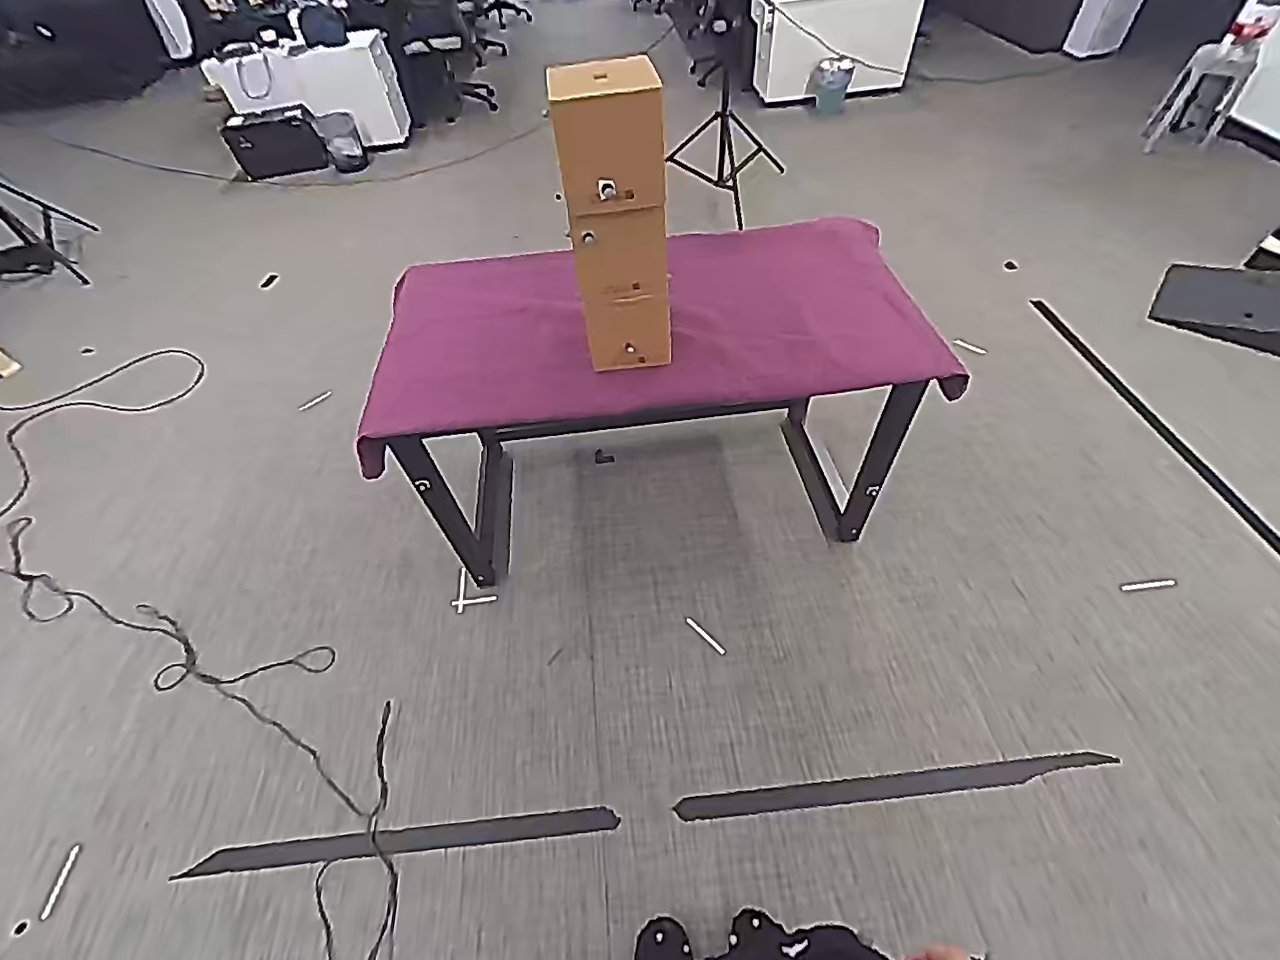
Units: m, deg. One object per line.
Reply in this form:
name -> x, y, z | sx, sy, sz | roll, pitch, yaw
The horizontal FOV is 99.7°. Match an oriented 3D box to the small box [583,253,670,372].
small box -> -0.027, -0.352, 1.140 | 0.168, 0.176, 0.179 | -6, 51, 1

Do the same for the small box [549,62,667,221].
small box -> -0.051, -0.548, 0.880 | 0.168, 0.176, 0.179 | -9, 51, -2
